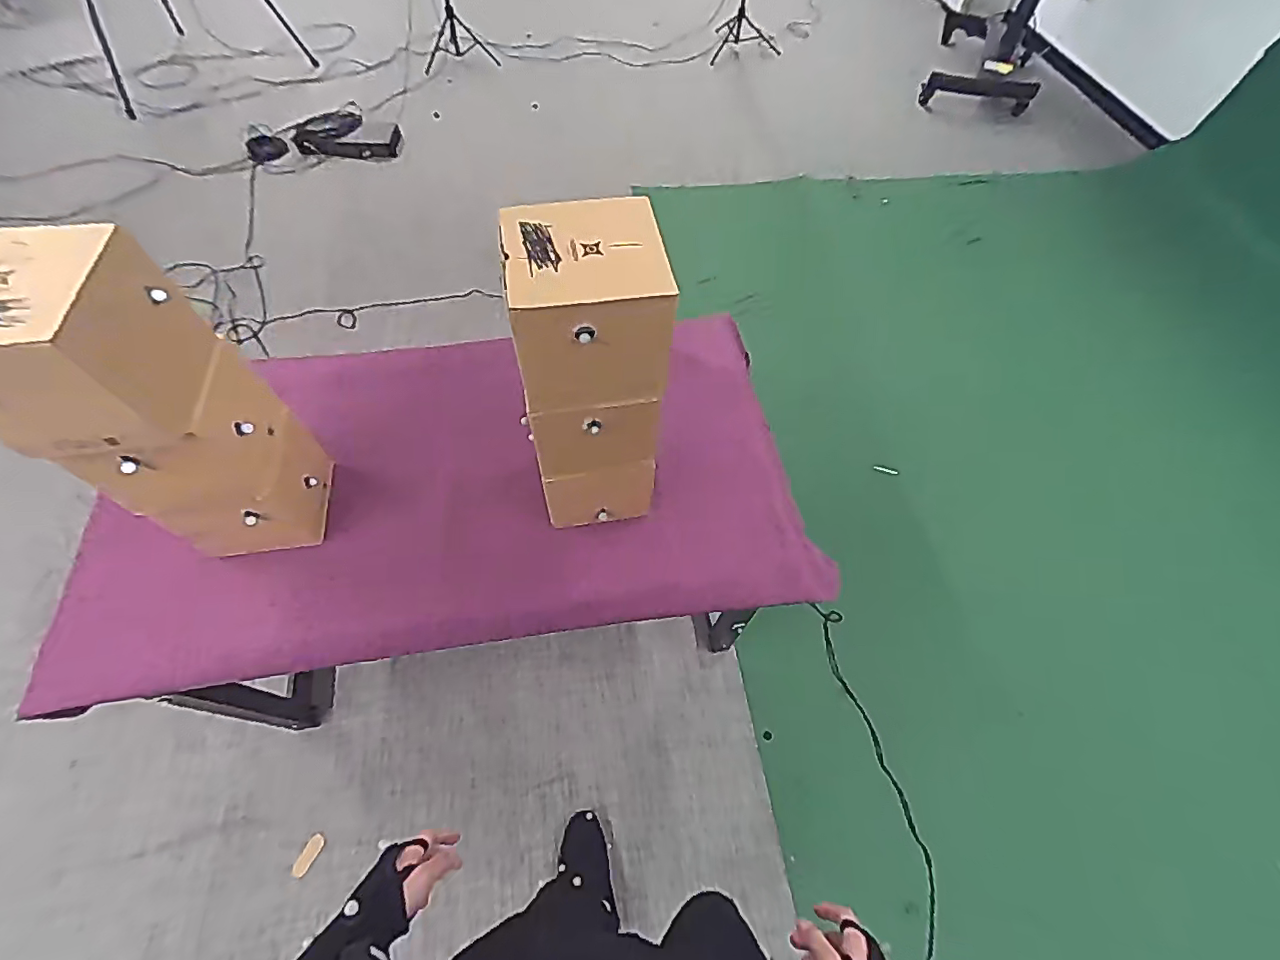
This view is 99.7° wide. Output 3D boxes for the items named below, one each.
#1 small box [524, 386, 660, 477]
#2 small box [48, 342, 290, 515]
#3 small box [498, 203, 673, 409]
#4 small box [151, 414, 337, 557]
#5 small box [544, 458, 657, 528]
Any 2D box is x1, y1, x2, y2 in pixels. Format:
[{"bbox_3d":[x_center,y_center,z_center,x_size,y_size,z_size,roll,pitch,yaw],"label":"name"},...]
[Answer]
[{"bbox_3d":[-0.071,-0.117,0.794,0.179,0.176,0.168,-7,61,-6],"label":"small box"},{"bbox_3d":[-0.622,-0.066,0.747,0.179,0.176,0.168,-7,61,-6],"label":"small box"},{"bbox_3d":[-0.064,-0.202,0.654,0.179,0.176,0.168,-8,61,-7],"label":"small box"},{"bbox_3d":[-0.627,0.013,0.887,0.179,0.176,0.168,-7,60,-6],"label":"small box"},{"bbox_3d":[-0.077,-0.033,0.934,0.179,0.176,0.168,-8,60,-7],"label":"small box"}]
